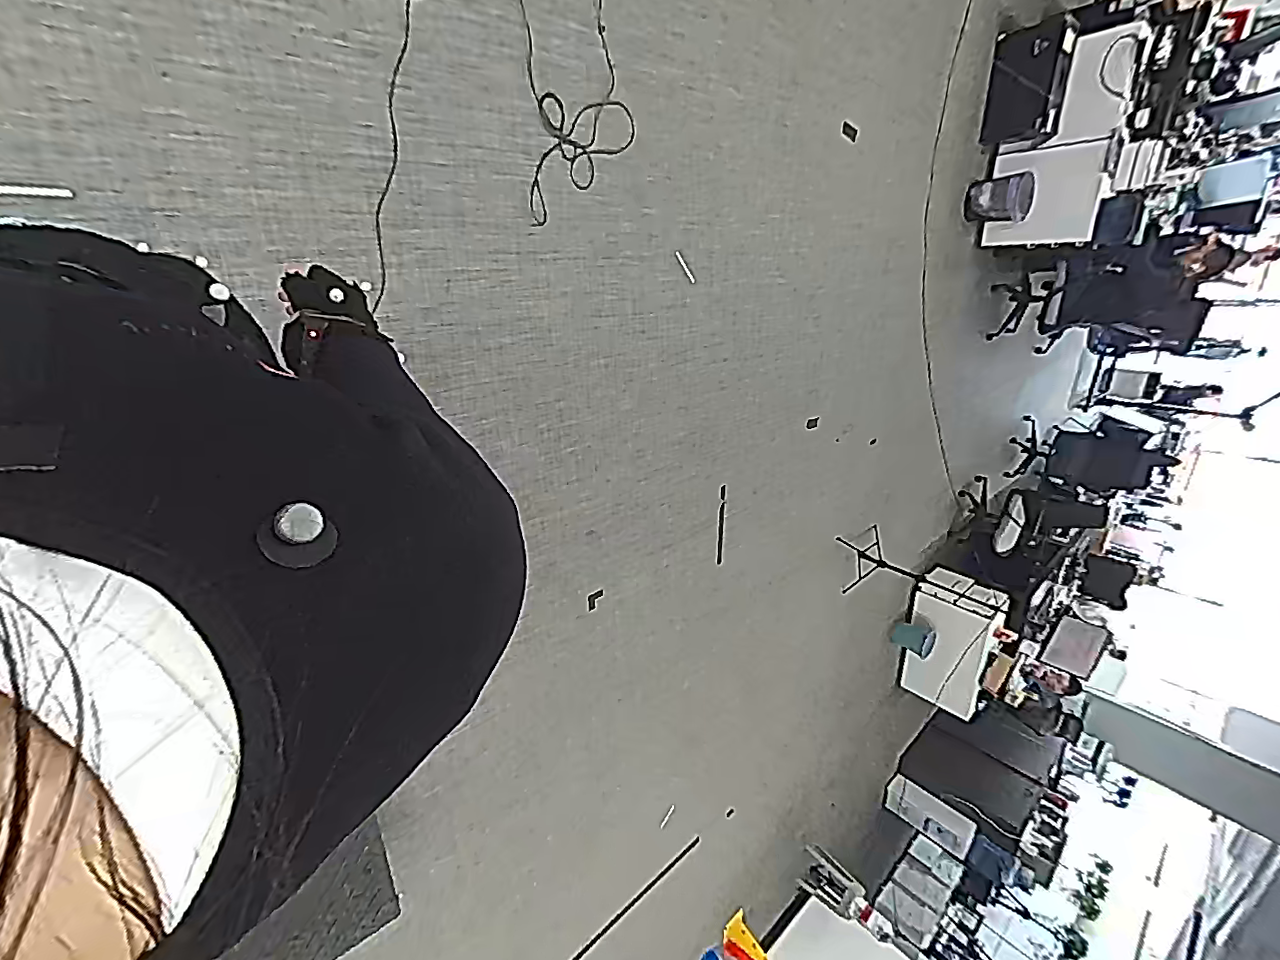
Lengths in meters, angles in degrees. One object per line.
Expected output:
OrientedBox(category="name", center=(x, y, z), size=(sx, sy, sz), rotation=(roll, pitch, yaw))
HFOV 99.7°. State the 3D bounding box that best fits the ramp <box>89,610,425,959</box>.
OrientedBox(category="ramp", center=(-0.909, 0.877, 1.382), size=(0.509, 0.206, 0.991), rotation=(-19, 116, -36))
